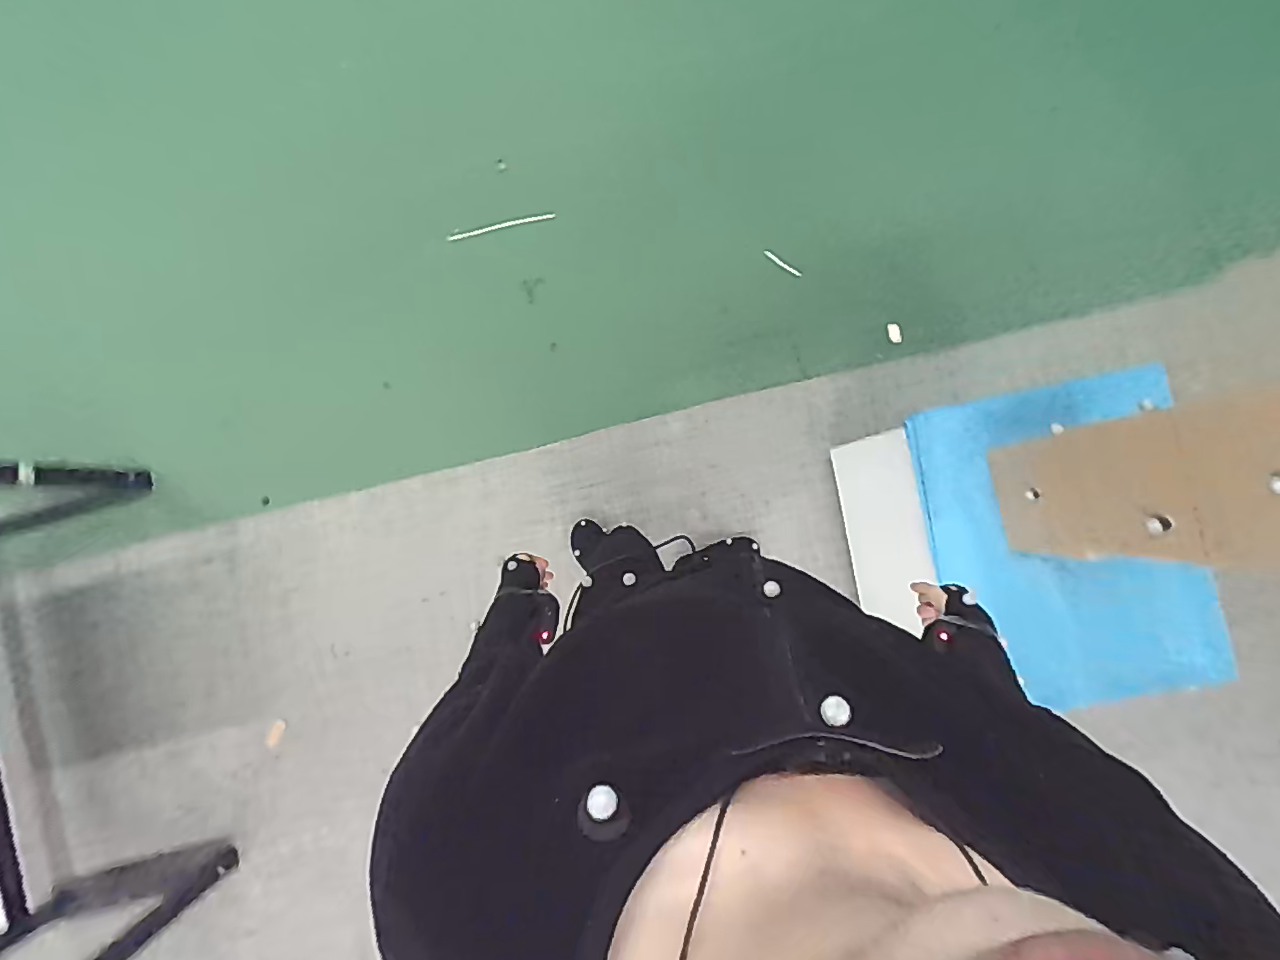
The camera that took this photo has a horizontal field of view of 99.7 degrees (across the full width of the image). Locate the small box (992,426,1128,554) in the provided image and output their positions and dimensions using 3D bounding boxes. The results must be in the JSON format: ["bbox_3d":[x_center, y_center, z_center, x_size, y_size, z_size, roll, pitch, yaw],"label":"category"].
[{"bbox_3d":[0.680,0.003,0.822,0.168,0.176,0.179,-12,87,0],"label":"small box"}]

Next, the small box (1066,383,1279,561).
[{"bbox_3d":[0.674,-0.011,0.658,0.168,0.176,0.179,-12,88,0],"label":"small box"}]
